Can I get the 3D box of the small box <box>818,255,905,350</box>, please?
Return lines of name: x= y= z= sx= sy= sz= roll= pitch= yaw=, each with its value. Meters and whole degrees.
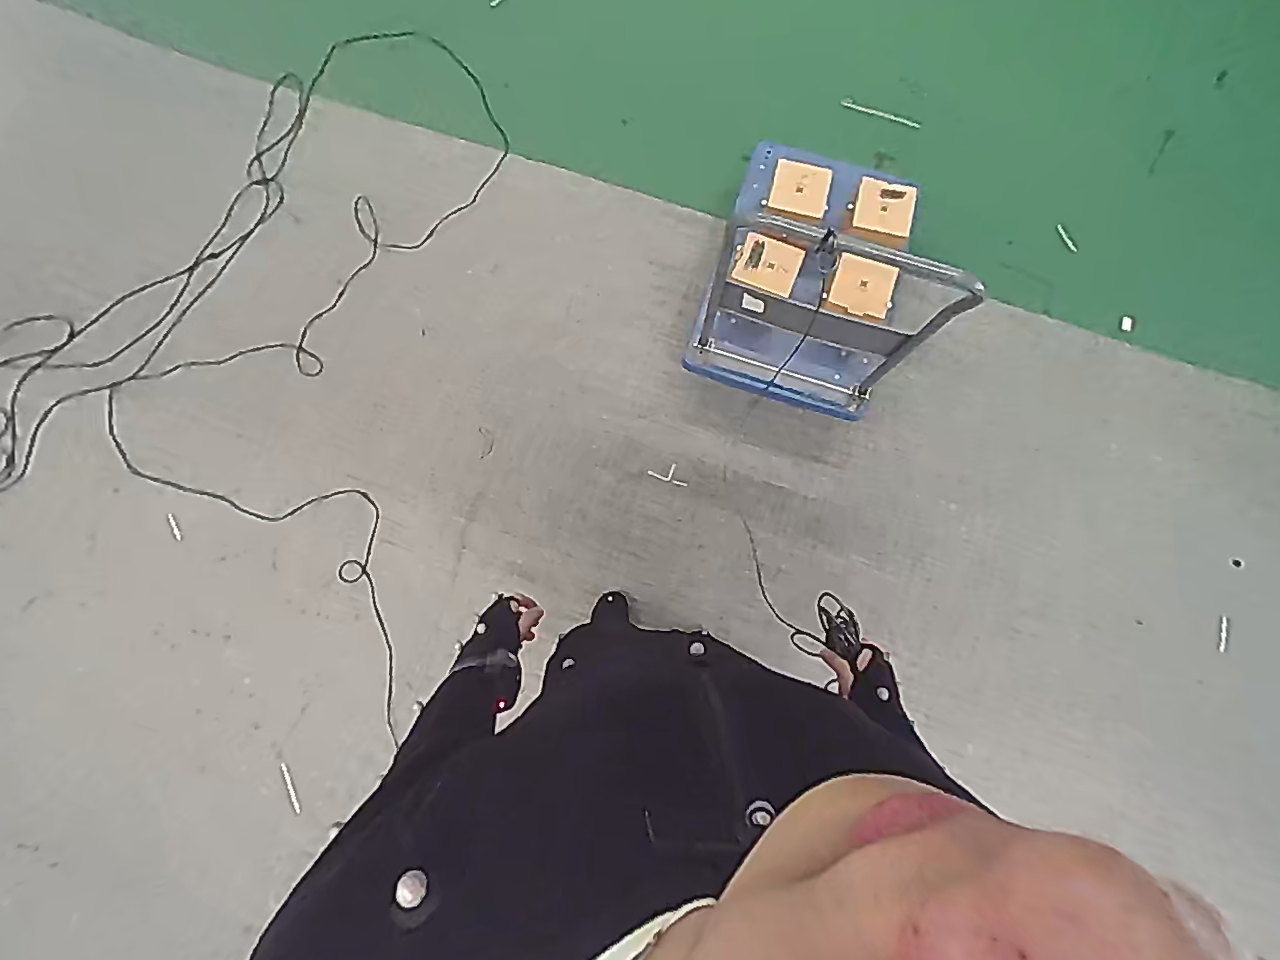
small box: x=0.641 y=-0.514 z=1.582 sx=0.168 sy=0.176 sz=0.179 roll=19 pitch=78 yaw=5

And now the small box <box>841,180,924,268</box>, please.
small box: x=0.729 y=-0.763 z=1.640 sx=0.168 sy=0.176 sz=0.179 roll=14 pitch=78 yaw=5

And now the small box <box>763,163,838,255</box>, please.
small box: x=0.486 y=-0.824 z=1.659 sx=0.168 sy=0.176 sz=0.179 roll=15 pitch=77 yaw=4
